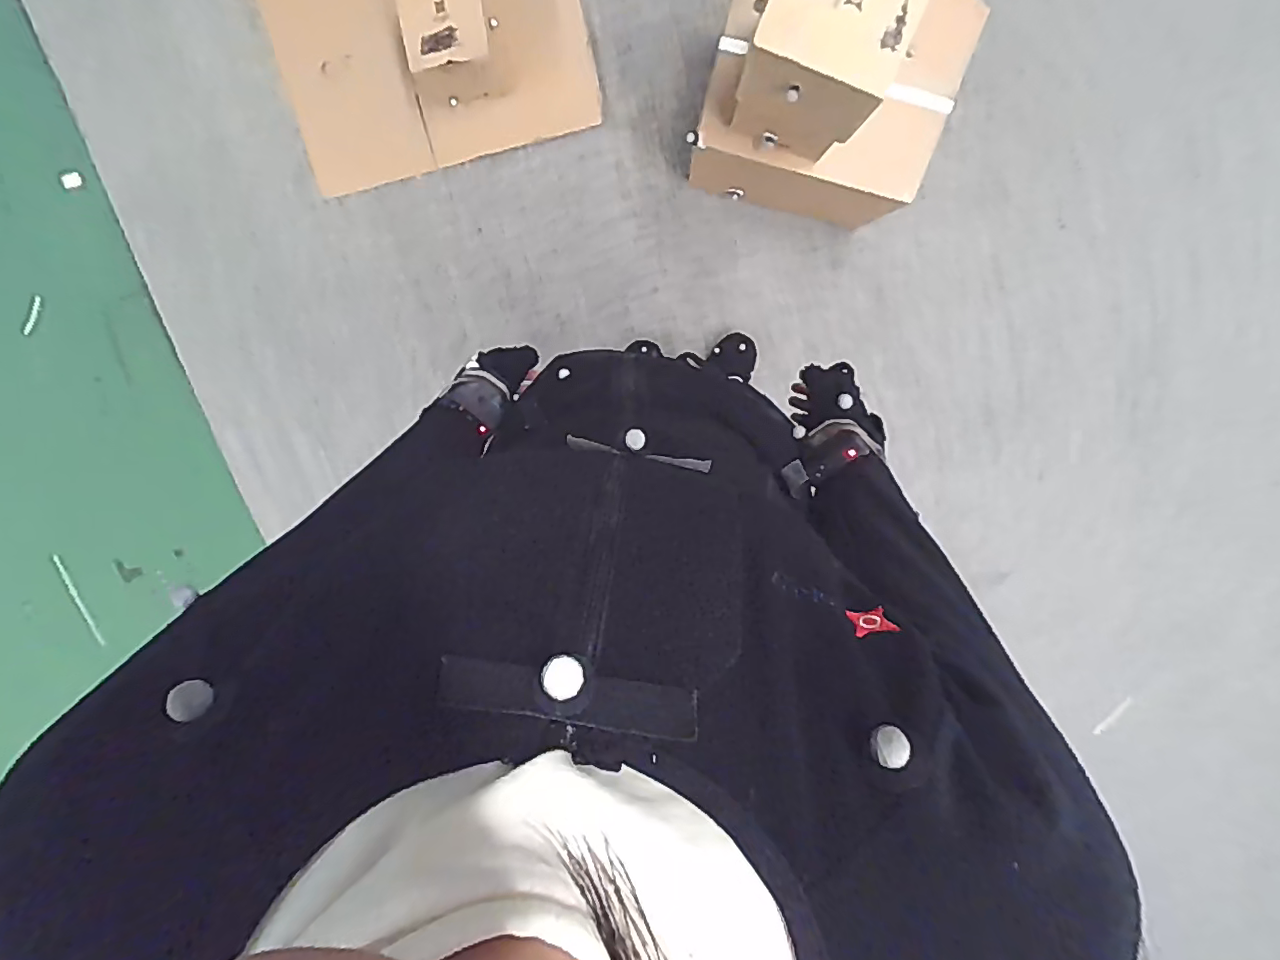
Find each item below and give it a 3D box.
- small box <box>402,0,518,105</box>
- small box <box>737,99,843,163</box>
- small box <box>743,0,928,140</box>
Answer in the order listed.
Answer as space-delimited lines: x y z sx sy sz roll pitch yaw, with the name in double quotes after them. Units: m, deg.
-0.363 -0.905 1.114 0.168 0.176 0.179 -6 103 6 "small box"
0.259 -0.632 0.846 0.168 0.176 0.179 18 108 0 "small box"
0.245 -0.574 0.696 0.179 0.176 0.168 18 105 -1 "small box"
